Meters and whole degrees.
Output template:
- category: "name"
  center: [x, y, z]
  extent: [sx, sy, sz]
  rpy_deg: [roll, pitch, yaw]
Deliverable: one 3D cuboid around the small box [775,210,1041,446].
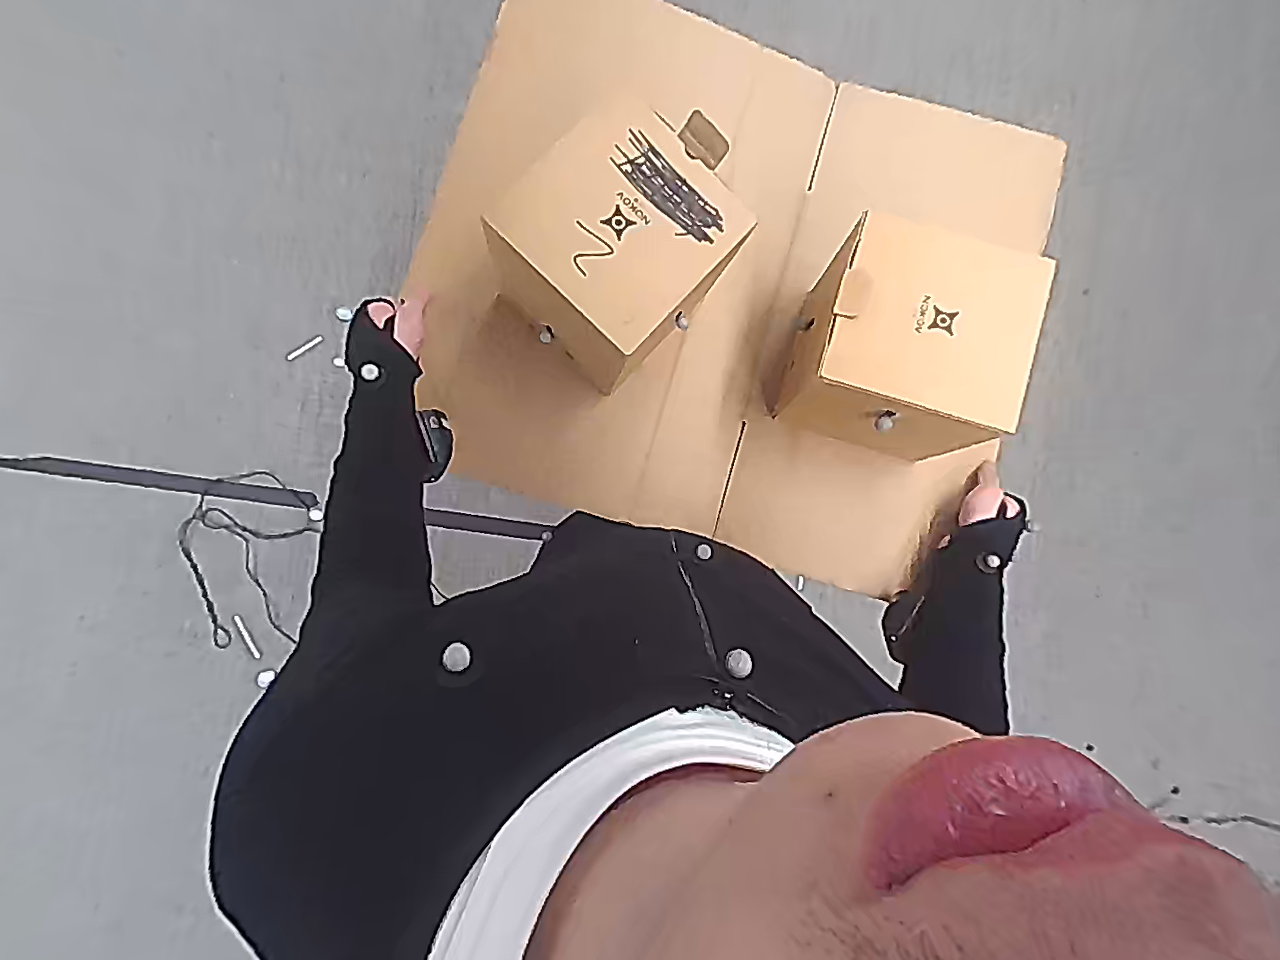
- category: "small box"
  center: [0.262, -0.141, 0.569]
  extent: [0.179, 0.176, 0.168]
  rpy_deg: [17, 84, 3]
